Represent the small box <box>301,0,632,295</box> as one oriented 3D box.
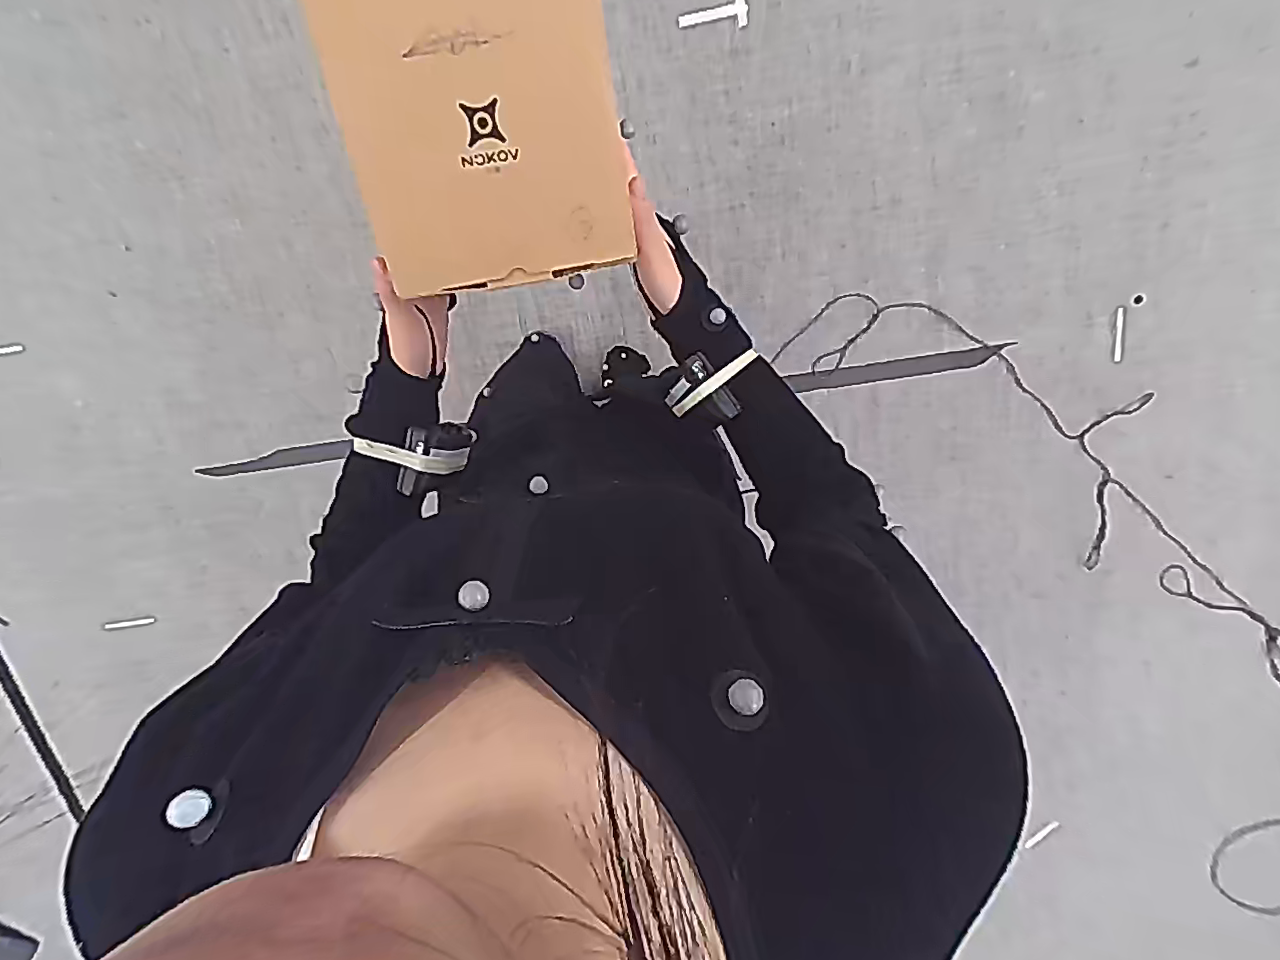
[{"bbox_3d":[-0.104,-0.247,0.401,0.168,0.176,0.179,-11,113,-2],"label":"small box"}]
